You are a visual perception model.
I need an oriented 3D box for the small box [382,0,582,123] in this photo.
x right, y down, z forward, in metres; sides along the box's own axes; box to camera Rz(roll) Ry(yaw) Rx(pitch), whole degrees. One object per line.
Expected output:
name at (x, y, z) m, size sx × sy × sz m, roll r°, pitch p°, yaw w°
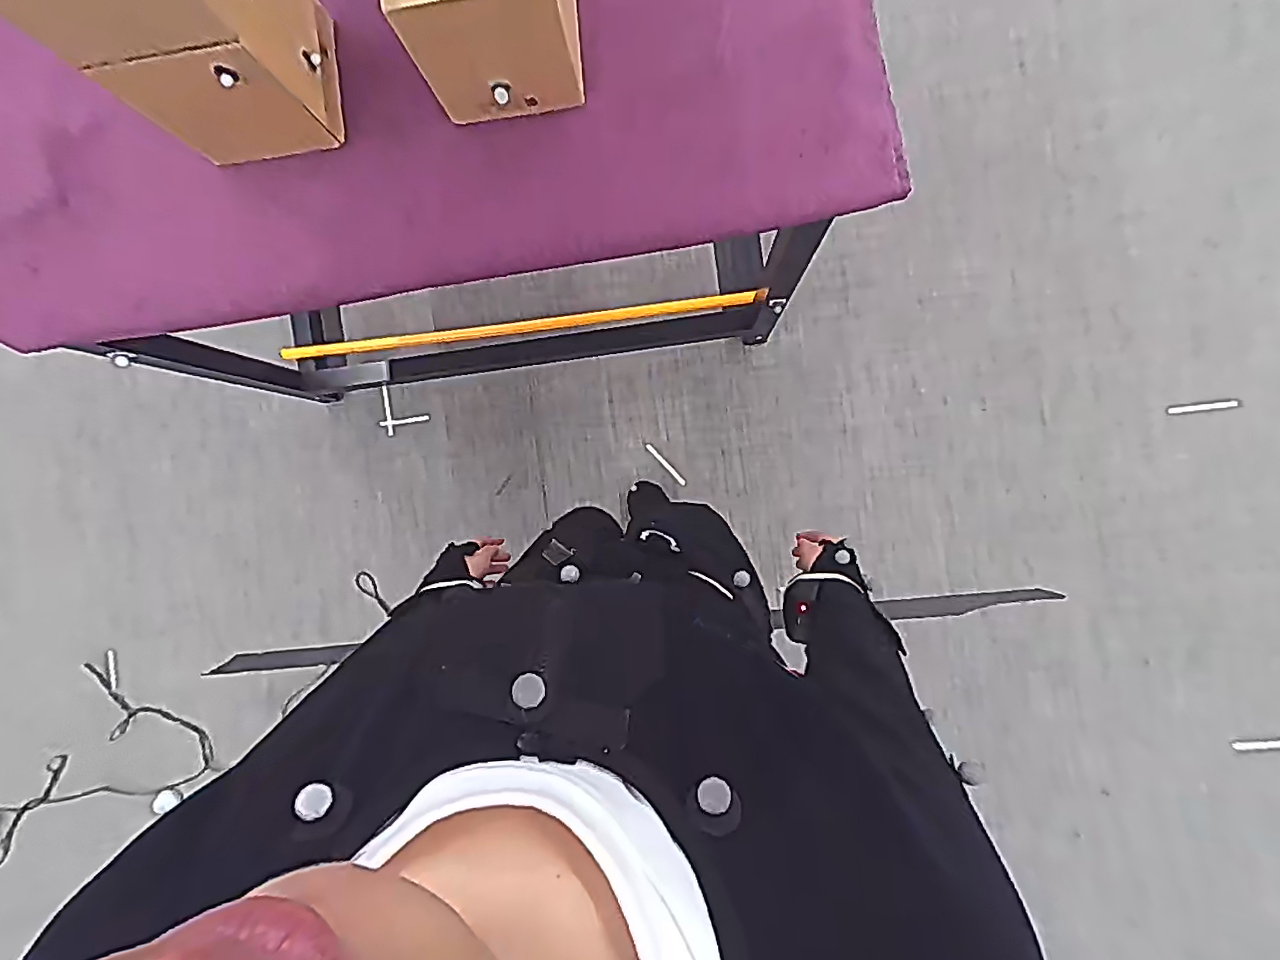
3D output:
small box at (-0.161, -0.531, 0.583) m, size 0.168 × 0.176 × 0.179 m, roll -5°, pitch 89°, yaw 4°

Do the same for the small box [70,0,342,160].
small box at (-0.472, -0.492, 0.607) m, size 0.179 × 0.176 × 0.168 m, roll -7°, pitch 89°, yaw 3°
